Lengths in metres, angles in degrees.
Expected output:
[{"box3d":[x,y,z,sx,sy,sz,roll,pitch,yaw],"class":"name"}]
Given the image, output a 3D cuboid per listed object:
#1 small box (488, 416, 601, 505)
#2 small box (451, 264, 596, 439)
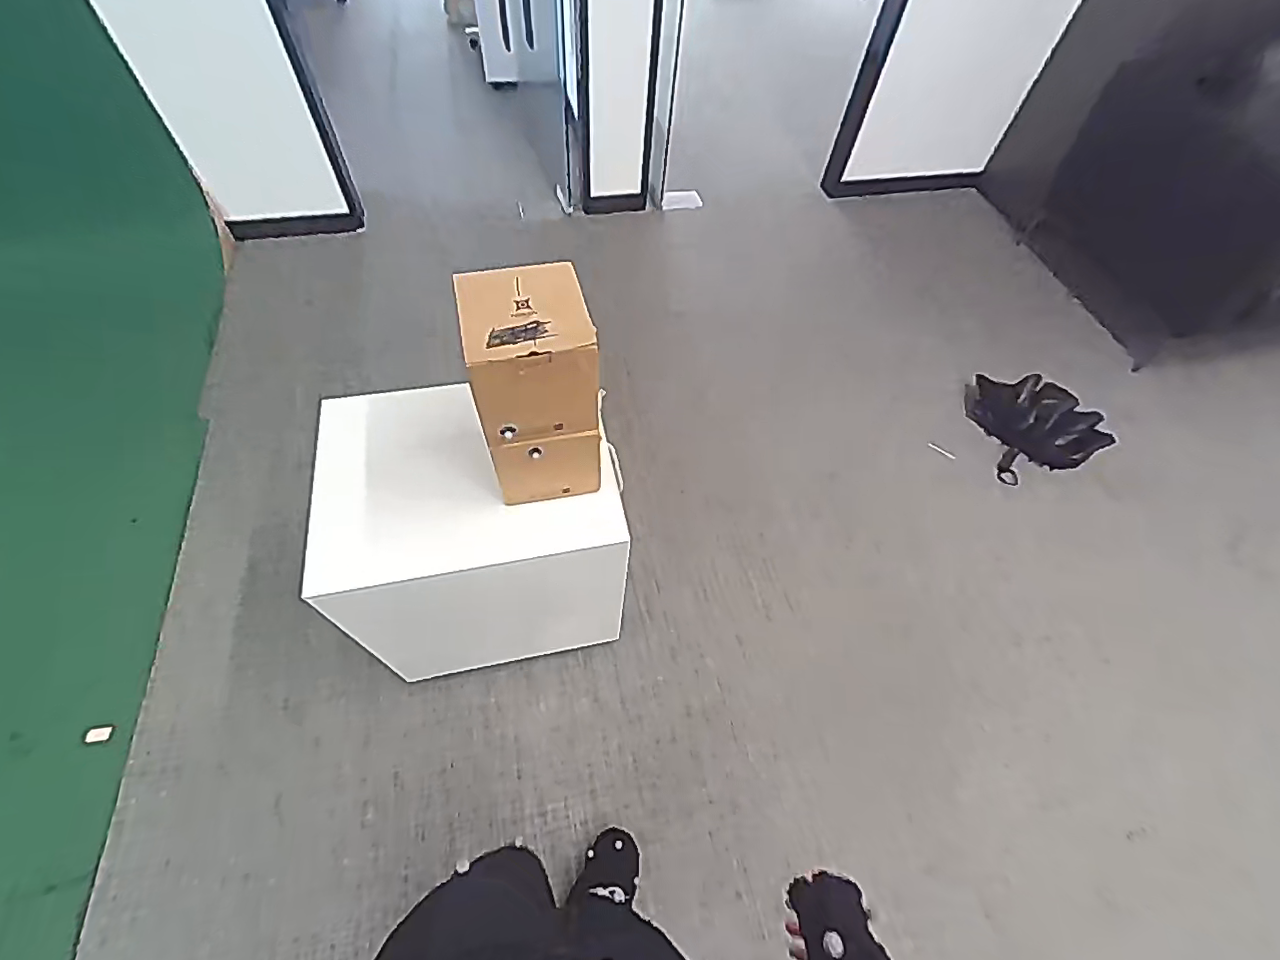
[{"box3d":[-0.161,-0.082,0.909,0.168,0.176,0.179,-10,58,-9],"class":"small box"},{"box3d":[-0.160,-0.175,0.773,0.168,0.176,0.179,-12,58,-10],"class":"small box"}]
